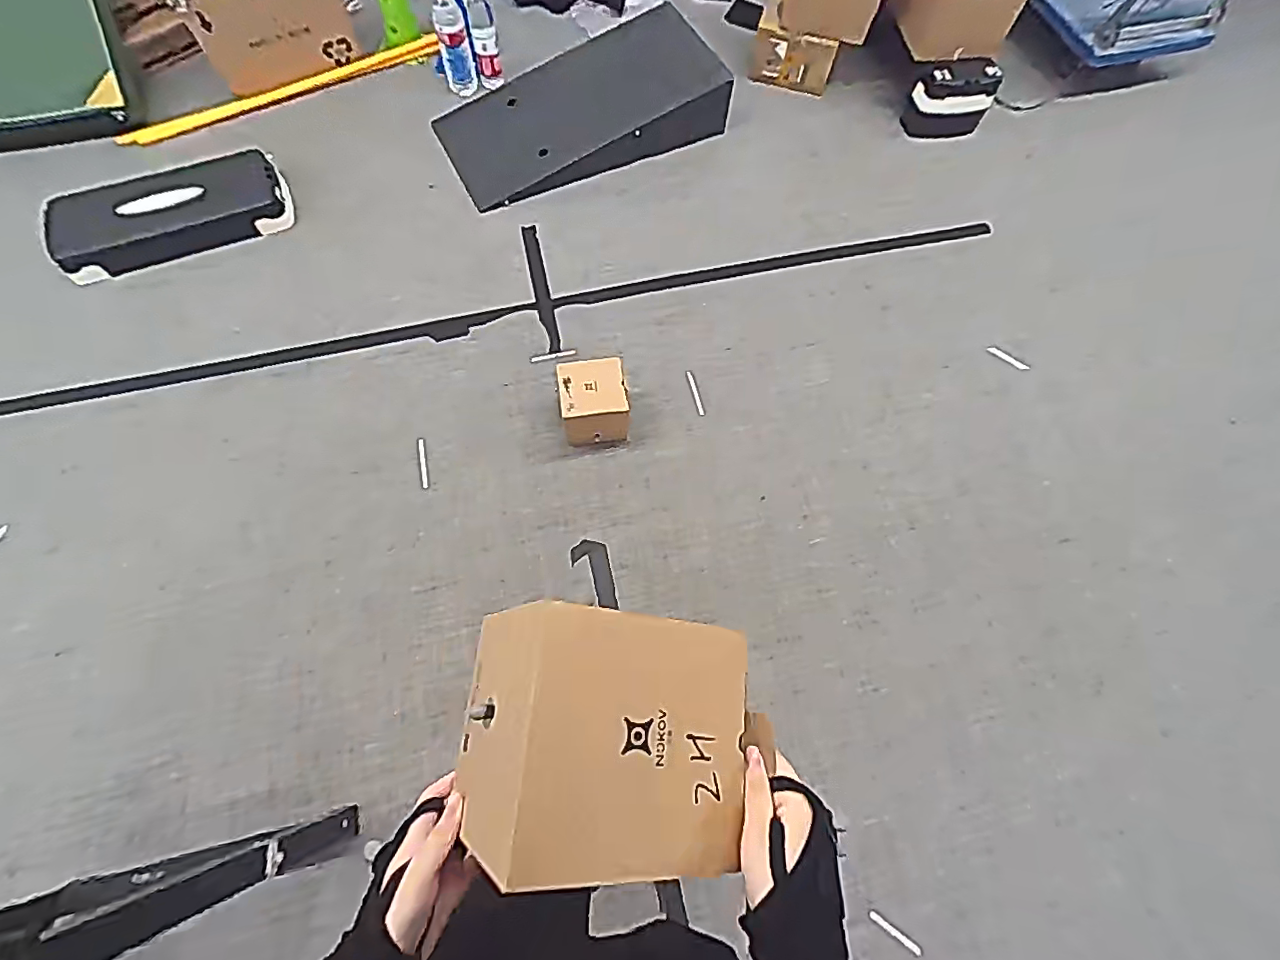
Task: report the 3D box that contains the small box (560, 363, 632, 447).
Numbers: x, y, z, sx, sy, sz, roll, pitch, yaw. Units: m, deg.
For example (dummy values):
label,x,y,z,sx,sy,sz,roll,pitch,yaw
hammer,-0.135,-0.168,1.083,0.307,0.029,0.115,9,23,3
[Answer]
label,x,y,z,sx,sy,sz,roll,pitch,yaw
small box,-0.124,-0.202,1.484,0.179,0.176,0.168,-6,68,-6
